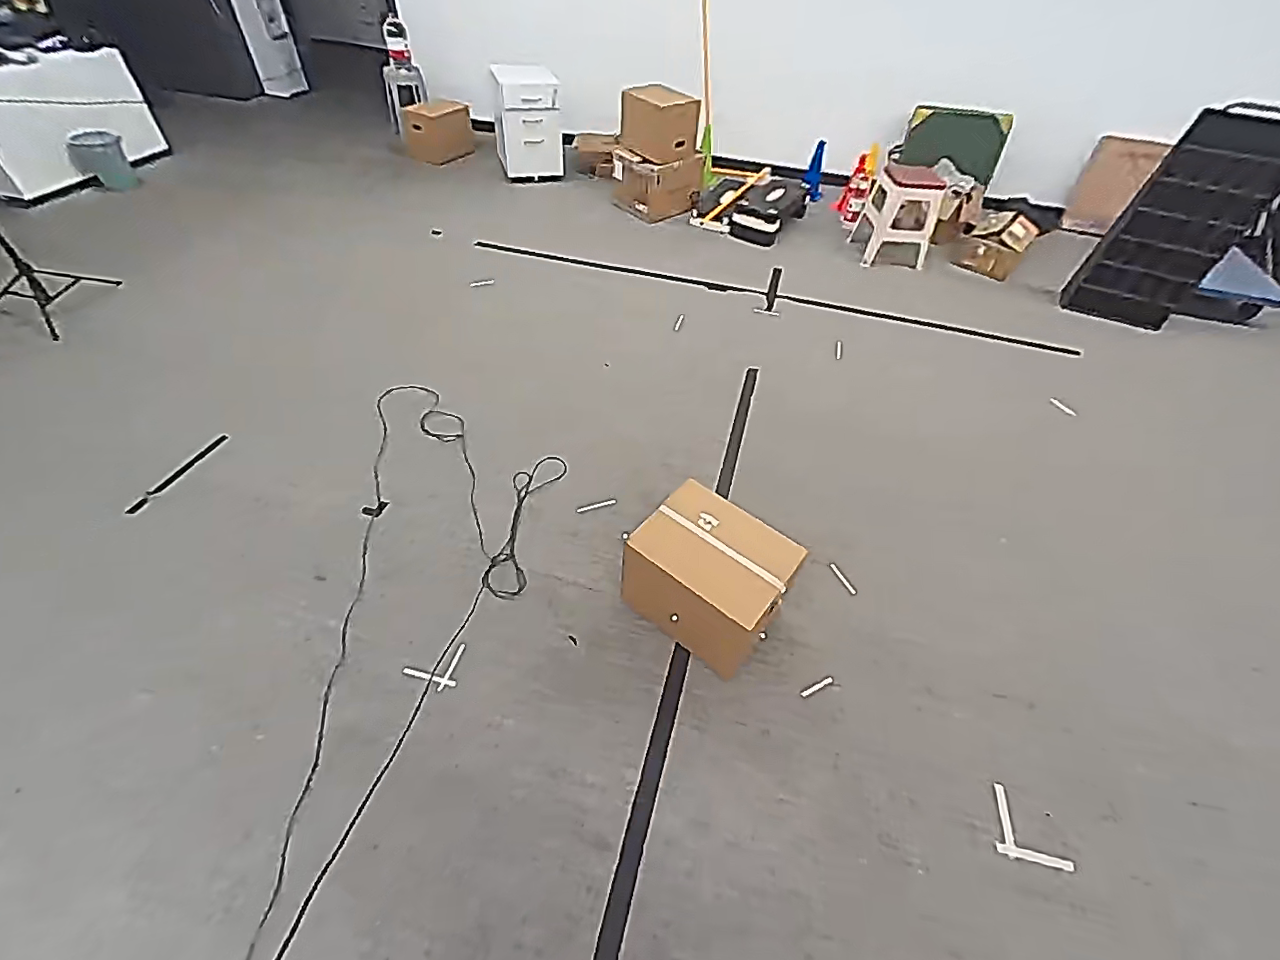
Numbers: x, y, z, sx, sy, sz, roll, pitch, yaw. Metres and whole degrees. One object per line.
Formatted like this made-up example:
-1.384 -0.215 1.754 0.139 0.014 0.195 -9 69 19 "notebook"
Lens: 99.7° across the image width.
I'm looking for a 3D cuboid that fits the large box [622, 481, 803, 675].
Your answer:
0.197 0.283 1.581 0.408 0.320 0.320 33 53 23 "large box"
